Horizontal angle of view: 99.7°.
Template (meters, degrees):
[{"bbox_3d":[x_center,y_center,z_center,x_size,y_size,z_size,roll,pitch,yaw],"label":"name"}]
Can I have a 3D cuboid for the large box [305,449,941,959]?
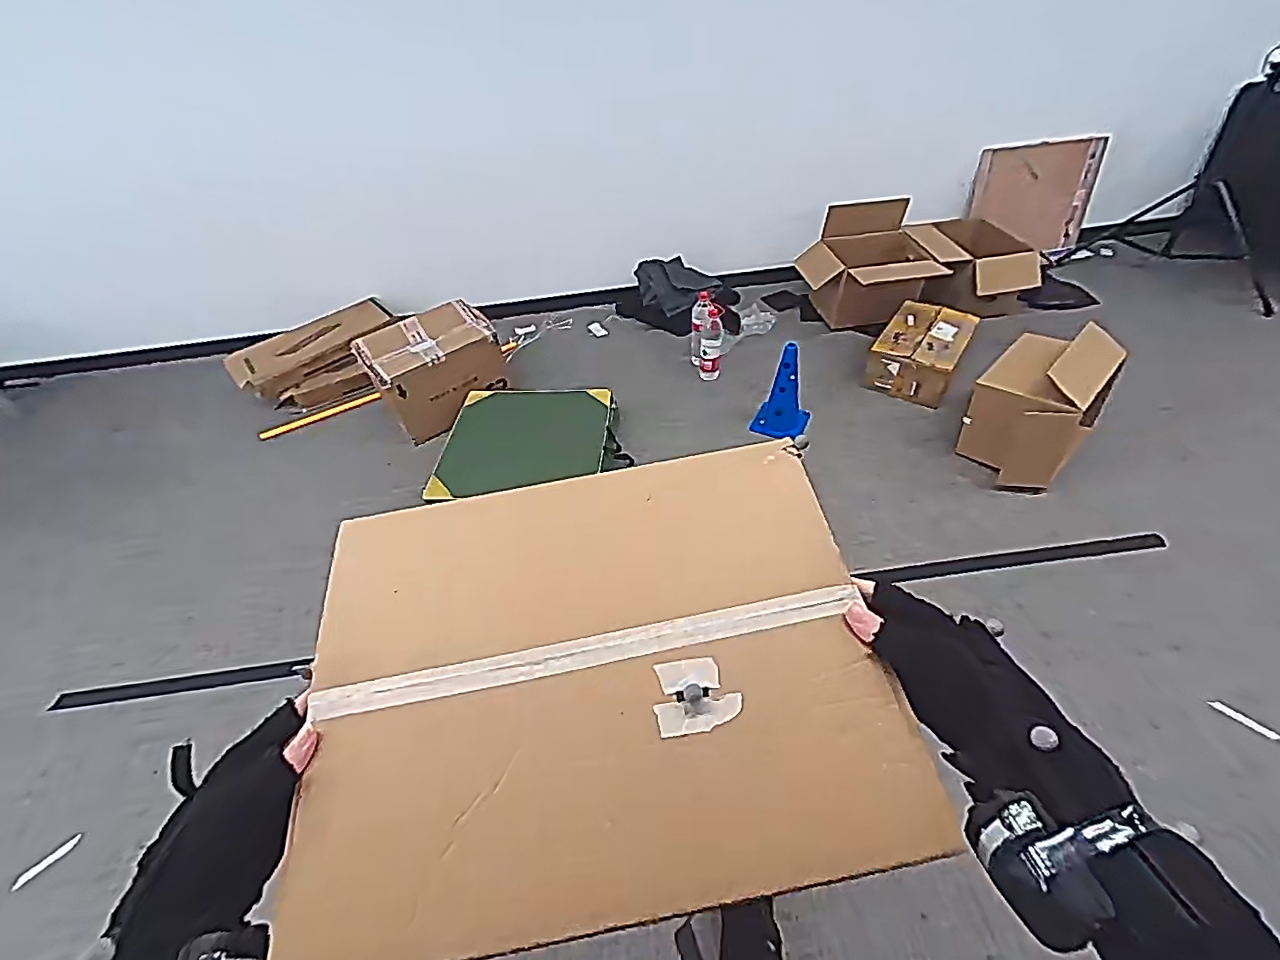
[{"bbox_3d":[-0.023,0.214,0.532,0.408,0.320,0.320,-10,56,-3],"label":"large box"}]
